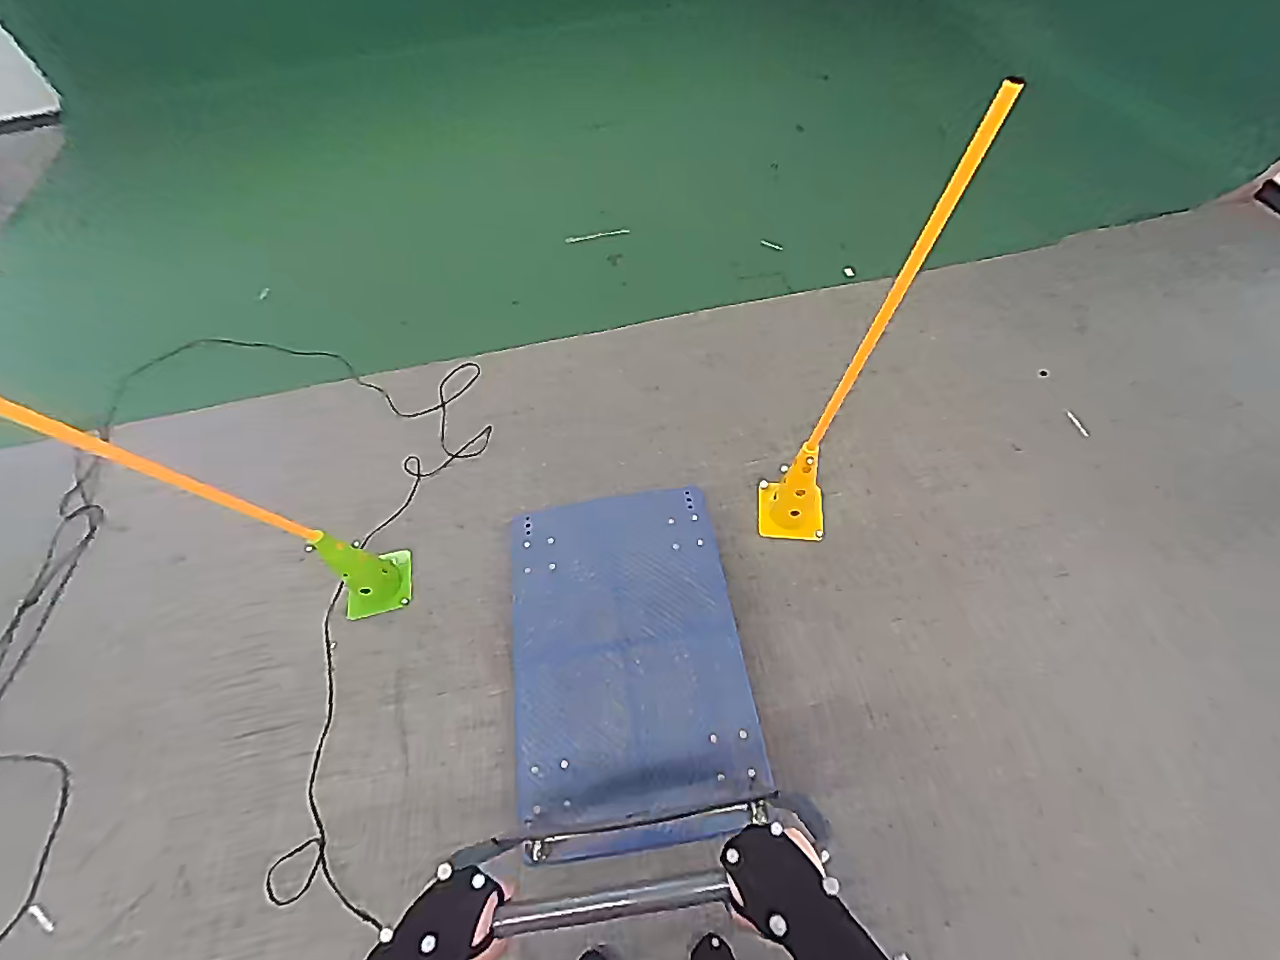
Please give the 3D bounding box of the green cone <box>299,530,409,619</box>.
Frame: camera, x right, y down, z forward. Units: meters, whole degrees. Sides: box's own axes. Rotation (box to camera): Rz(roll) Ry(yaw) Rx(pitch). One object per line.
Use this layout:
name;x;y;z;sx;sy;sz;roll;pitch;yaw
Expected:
green cone;-0.851;0.236;1.566;0.202;0.368;0.200;-15;58;-2
